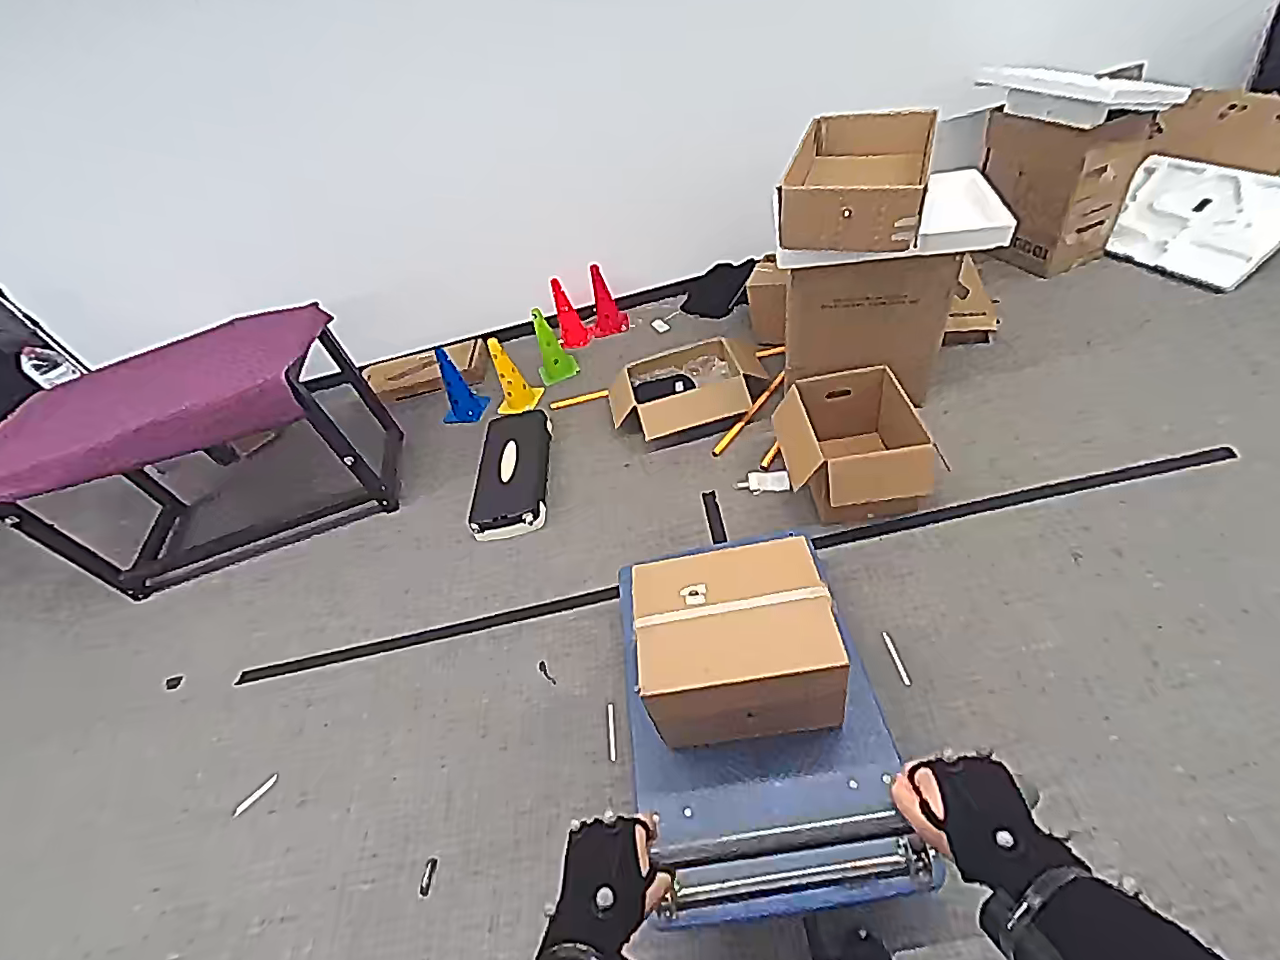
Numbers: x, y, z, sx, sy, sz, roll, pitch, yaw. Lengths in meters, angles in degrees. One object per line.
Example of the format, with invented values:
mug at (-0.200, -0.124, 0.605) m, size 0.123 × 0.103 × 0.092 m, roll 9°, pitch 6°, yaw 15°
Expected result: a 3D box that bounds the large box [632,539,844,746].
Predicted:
large box at (0.220, 0.382, 1.254) m, size 0.408 × 0.320 × 0.320 m, roll -12°, pitch 43°, yaw 7°
